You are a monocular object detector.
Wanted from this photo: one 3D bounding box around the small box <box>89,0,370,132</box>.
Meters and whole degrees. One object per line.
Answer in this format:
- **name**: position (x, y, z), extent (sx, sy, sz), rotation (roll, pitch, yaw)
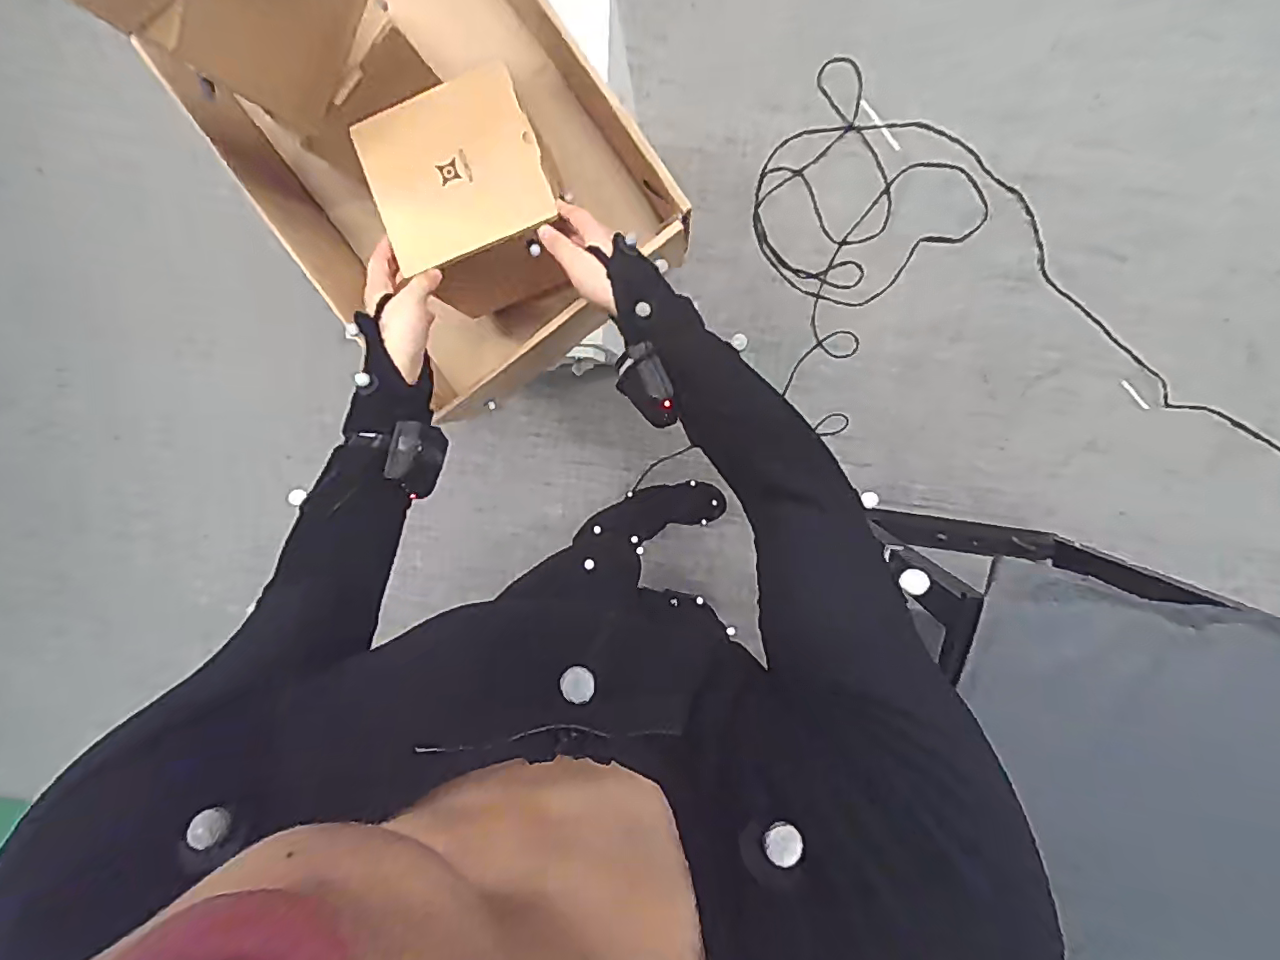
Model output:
- **small box**: position (-0.383, -0.469, 0.491), extent (0.168, 0.176, 0.179), rotation (29, 103, 0)
